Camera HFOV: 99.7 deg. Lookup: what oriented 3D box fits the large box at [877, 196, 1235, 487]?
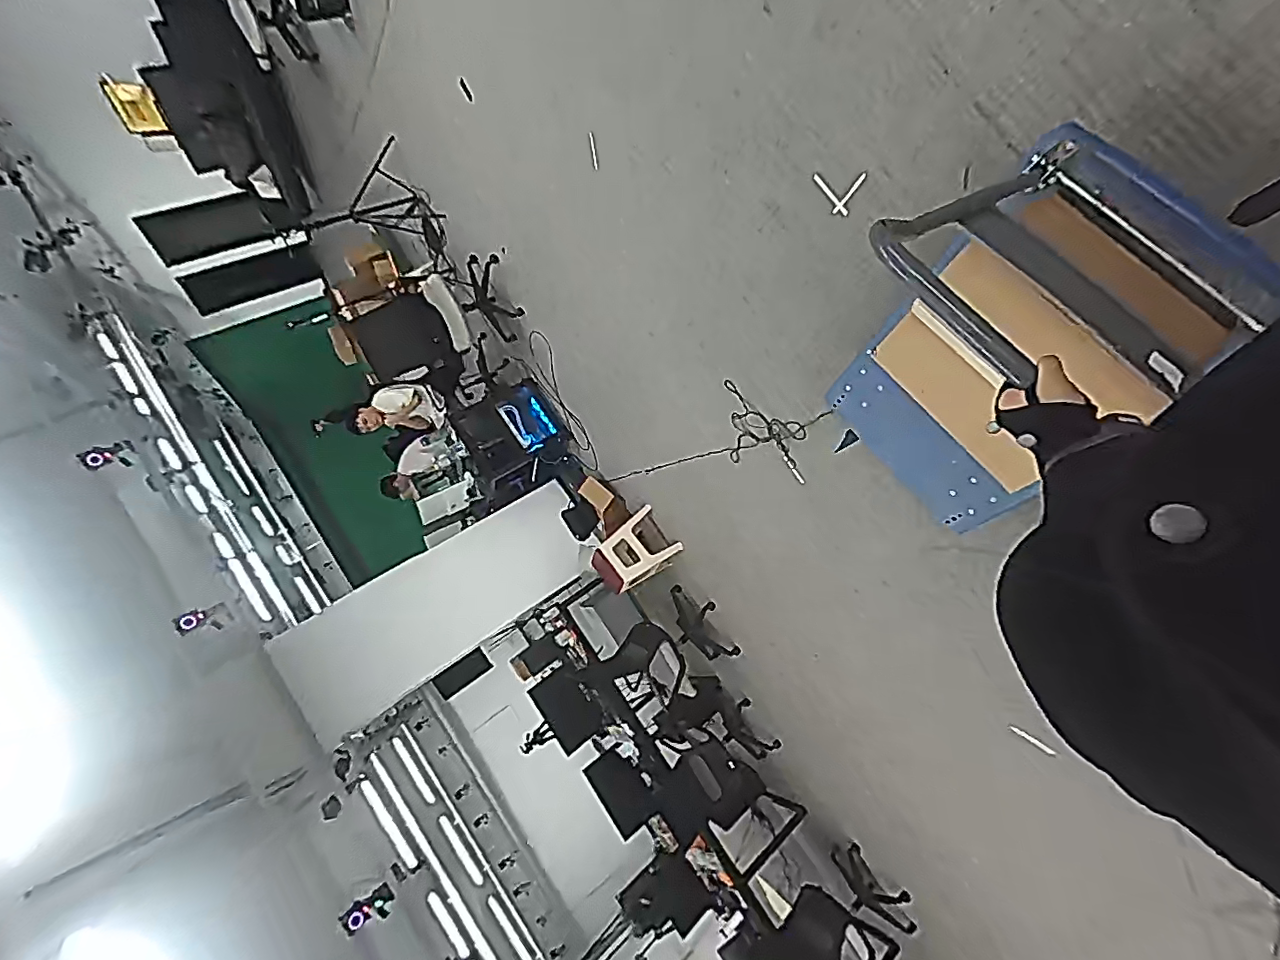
[{"bbox_3d":[0.780,-0.268,1.060,0.408,0.320,0.320,52,153,15],"label":"large box"}]
